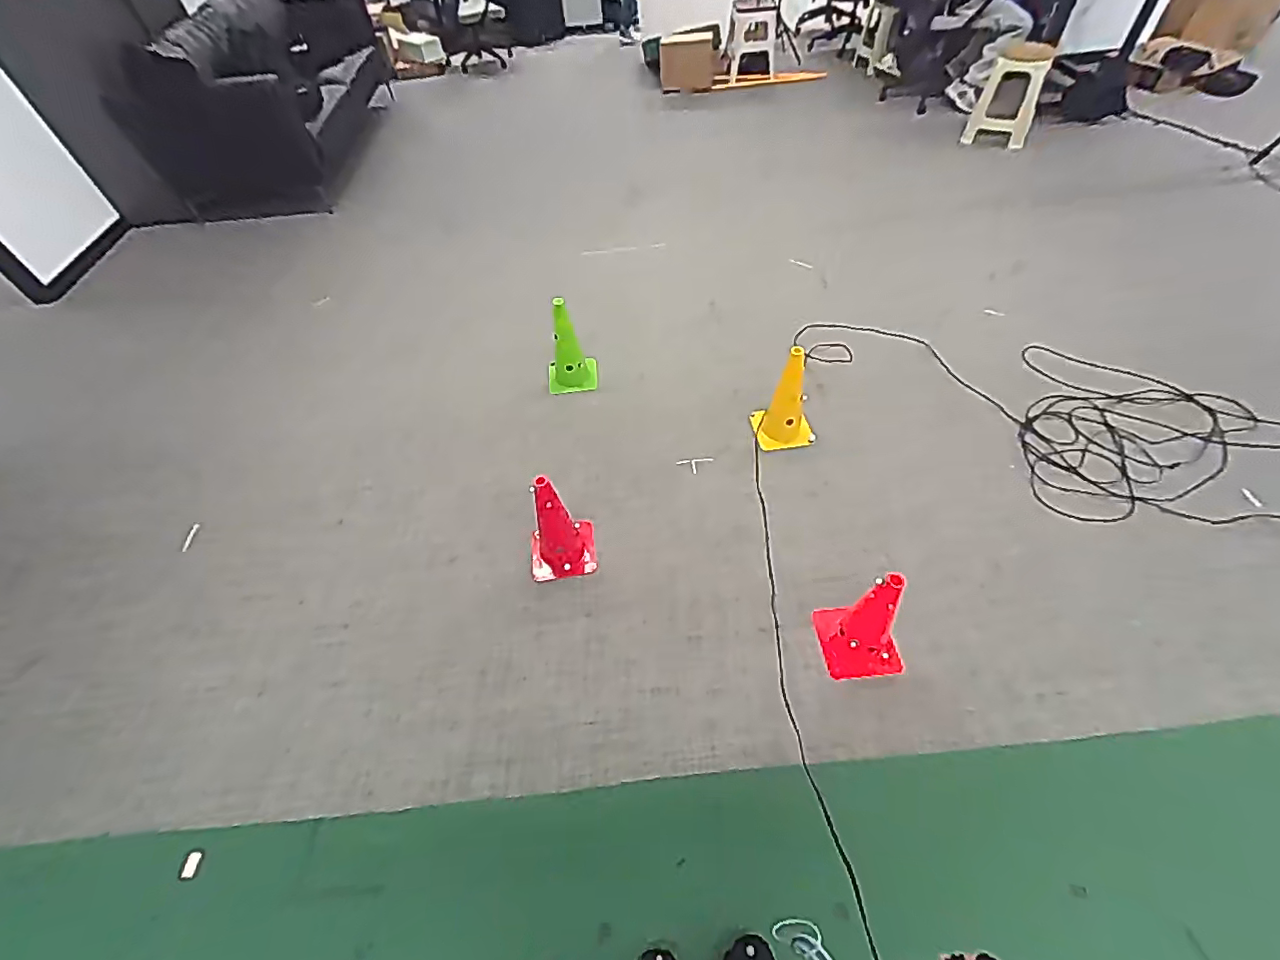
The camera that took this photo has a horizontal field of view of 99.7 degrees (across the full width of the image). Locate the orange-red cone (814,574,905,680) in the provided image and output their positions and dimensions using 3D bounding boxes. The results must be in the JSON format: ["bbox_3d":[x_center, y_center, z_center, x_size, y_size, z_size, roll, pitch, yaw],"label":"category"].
[{"bbox_3d":[0.583,0.336,1.347,0.198,0.360,0.199,-5,50,-1],"label":"orange-red cone"}]

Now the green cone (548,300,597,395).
[{"bbox_3d":[-0.289,-0.533,2.120,0.202,0.368,0.200,-6,51,-2],"label":"green cone"}]

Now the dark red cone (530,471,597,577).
[{"bbox_3d":[-0.252,0.109,1.568,0.202,0.394,0.201,-10,52,-4],"label":"dark red cone"}]
